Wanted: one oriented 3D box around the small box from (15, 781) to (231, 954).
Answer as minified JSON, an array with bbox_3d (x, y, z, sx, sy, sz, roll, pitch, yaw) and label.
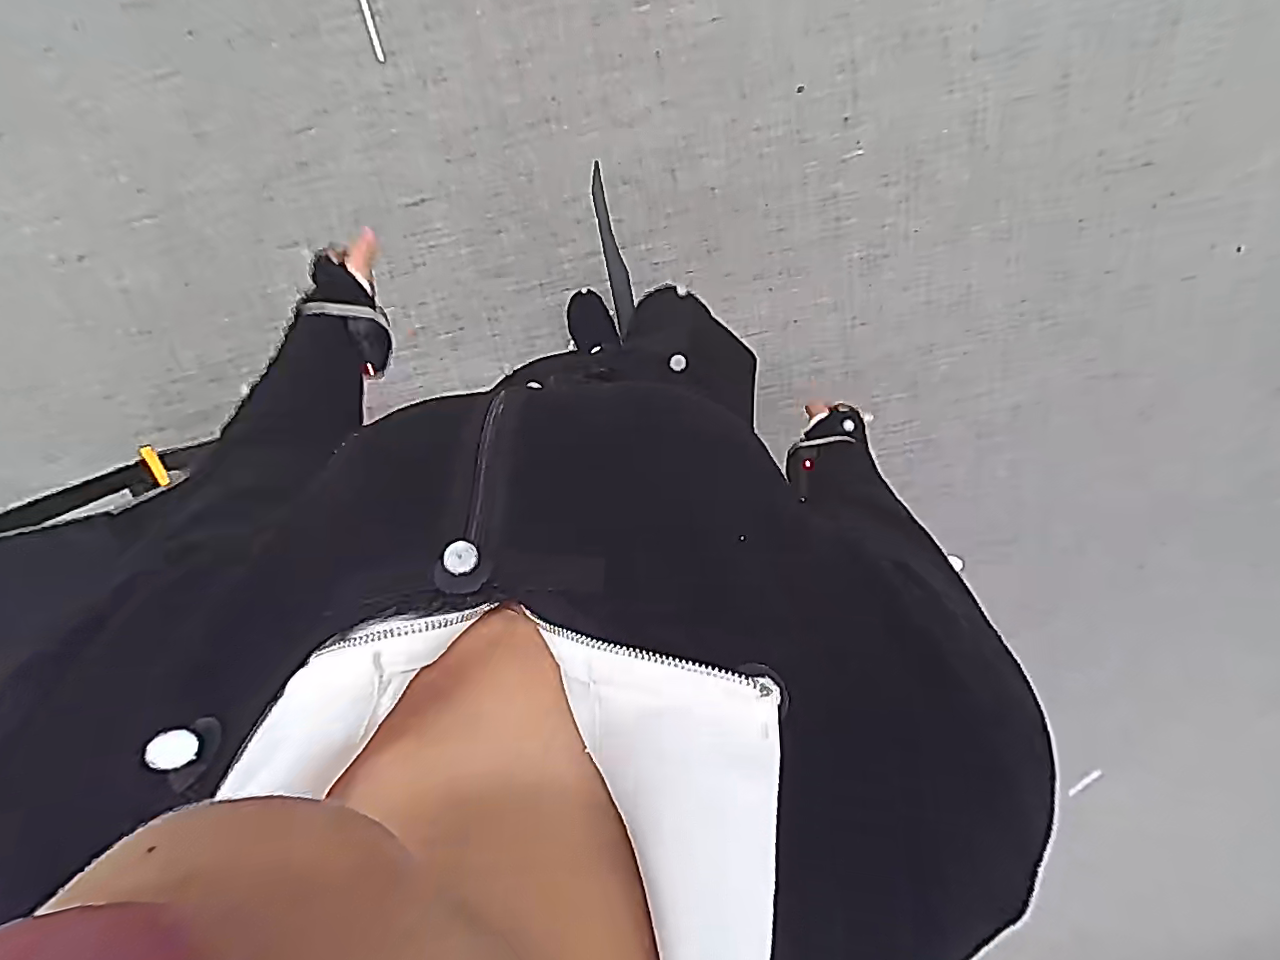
[{"bbox_3d":[-0.859,0.654,0.923,0.168,0.176,0.179,-11,110,4],"label":"small box"}]
